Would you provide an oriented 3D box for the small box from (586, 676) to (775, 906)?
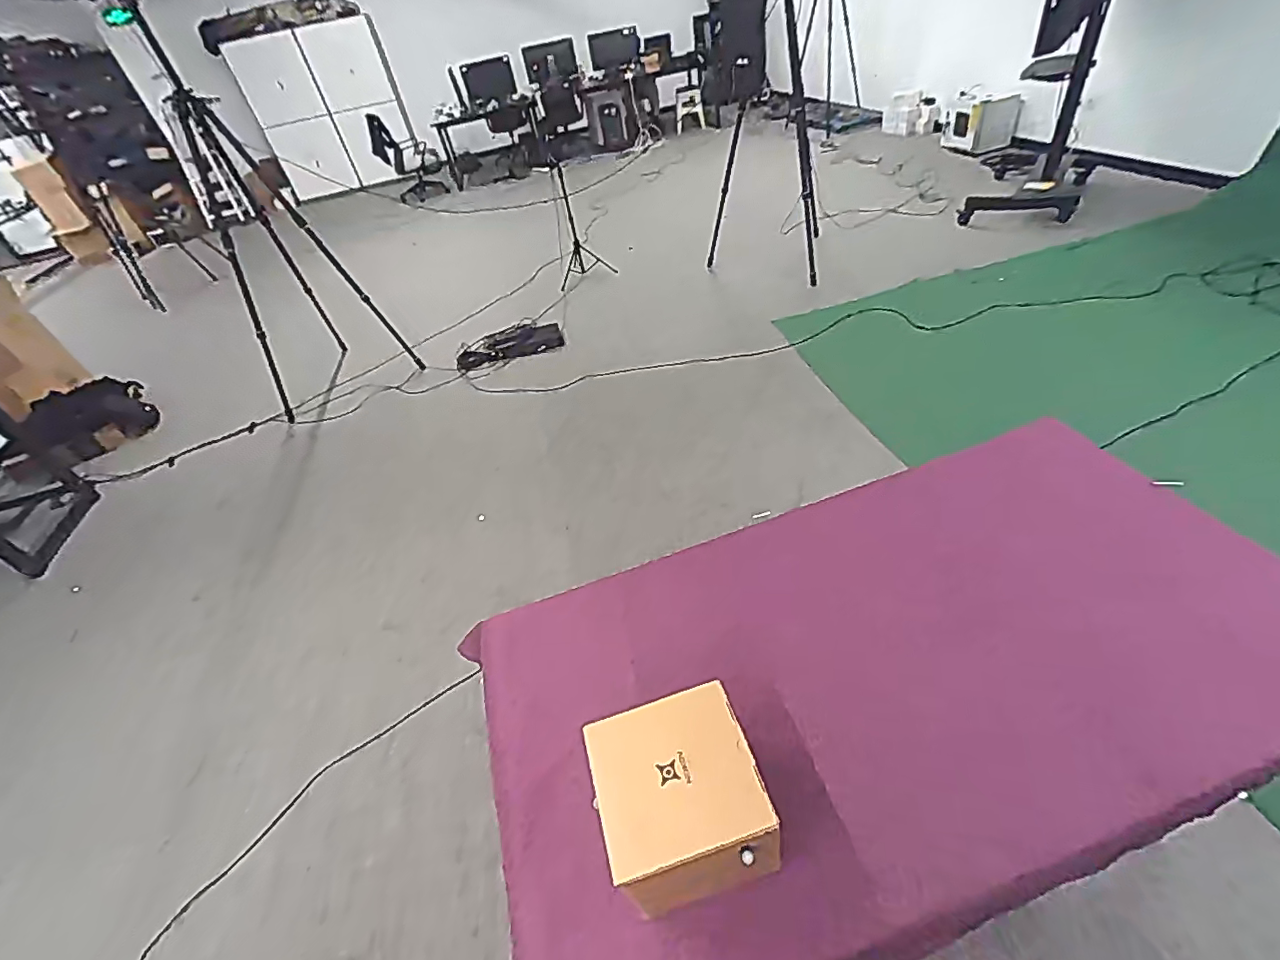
[{"bbox_3d":[0.051,0.375,0.650,0.179,0.176,0.168,-18,41,-5],"label":"small box"}]
